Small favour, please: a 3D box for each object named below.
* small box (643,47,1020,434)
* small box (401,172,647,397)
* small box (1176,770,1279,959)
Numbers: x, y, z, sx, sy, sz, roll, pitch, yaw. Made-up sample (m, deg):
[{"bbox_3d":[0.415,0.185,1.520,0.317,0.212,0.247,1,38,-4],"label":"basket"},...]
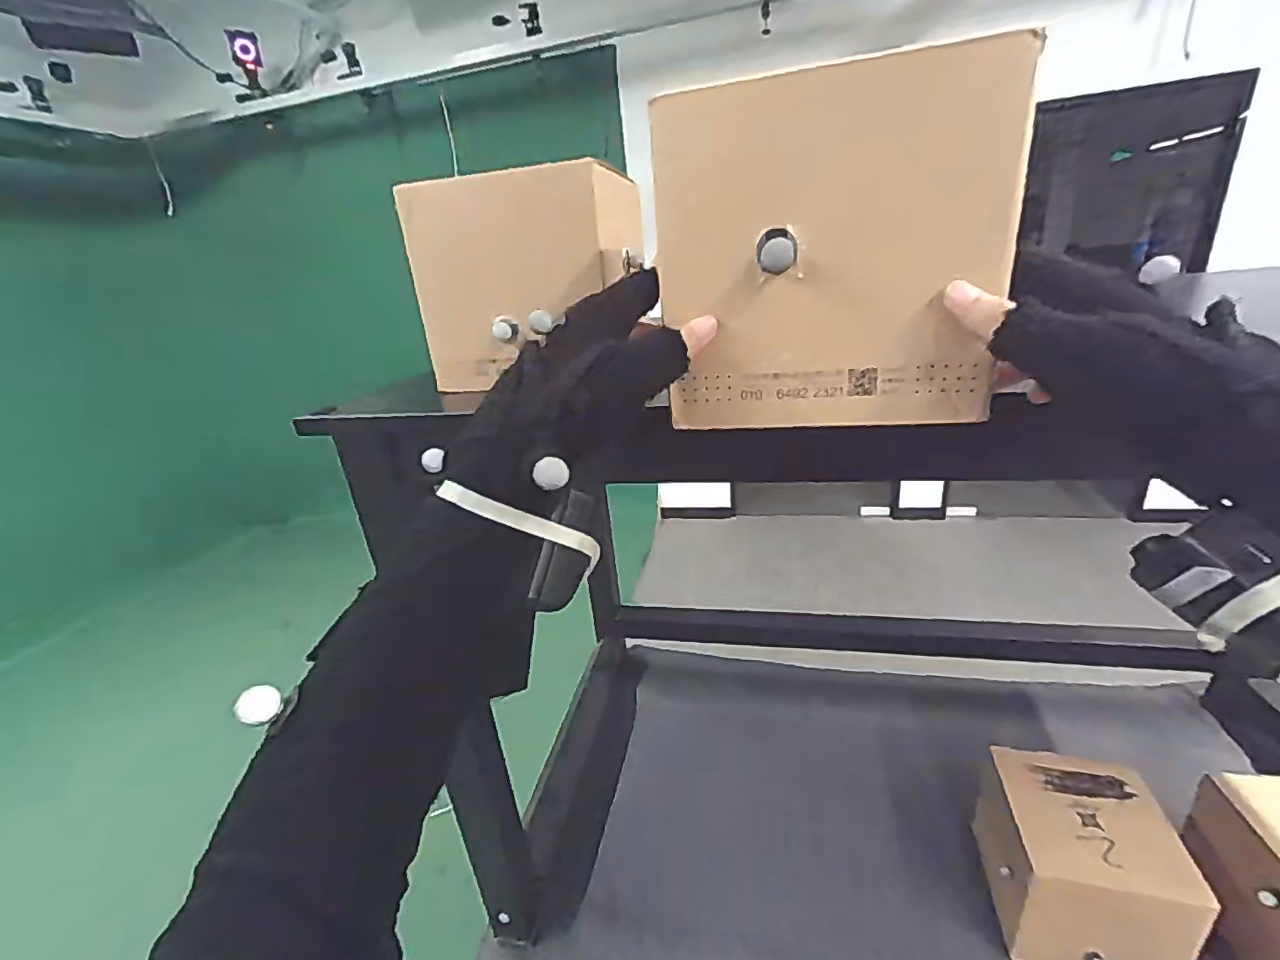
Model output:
[{"bbox_3d":[0.108,-0.130,0.344,0.168,0.176,0.179,0,22,15],"label":"small box"},{"bbox_3d":[-0.090,-0.180,0.517,0.168,0.176,0.179,-1,23,13],"label":"small box"},{"bbox_3d":[0.780,0.472,0.617,0.168,0.176,0.179,-1,21,13],"label":"small box"}]
